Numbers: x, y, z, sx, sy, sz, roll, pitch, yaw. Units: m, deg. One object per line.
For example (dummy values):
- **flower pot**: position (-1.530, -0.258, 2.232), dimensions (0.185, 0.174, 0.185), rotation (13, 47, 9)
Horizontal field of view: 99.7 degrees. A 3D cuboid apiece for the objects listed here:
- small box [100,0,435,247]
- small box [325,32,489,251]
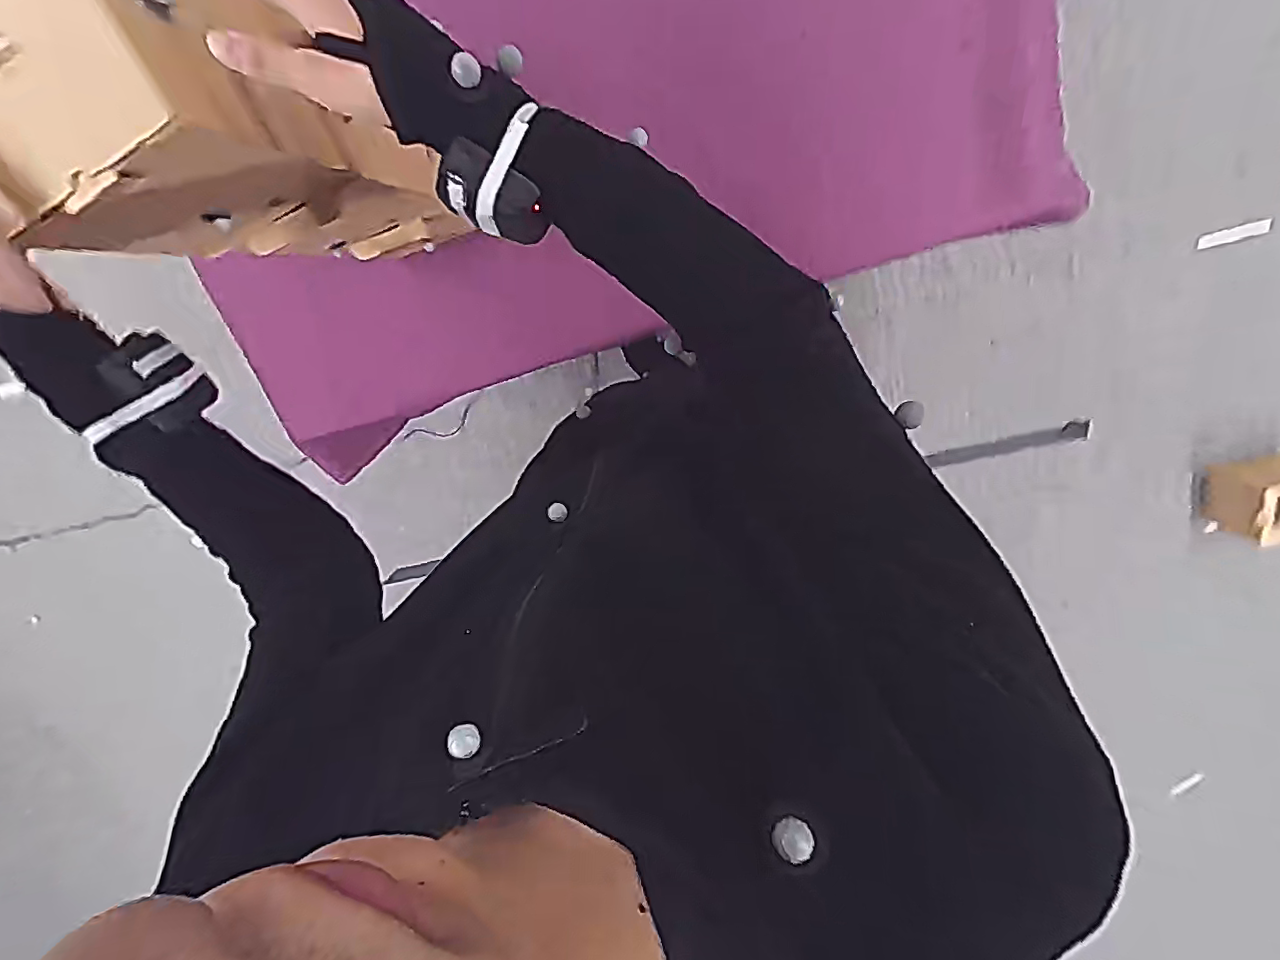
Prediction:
- **small box**: position (-0.337, -0.347, 0.533), dimensions (0.168, 0.176, 0.179), rotation (-18, 107, 12)
- **small box**: position (-0.319, -0.405, 0.685), dimensions (0.168, 0.176, 0.179), rotation (-14, 109, 12)
